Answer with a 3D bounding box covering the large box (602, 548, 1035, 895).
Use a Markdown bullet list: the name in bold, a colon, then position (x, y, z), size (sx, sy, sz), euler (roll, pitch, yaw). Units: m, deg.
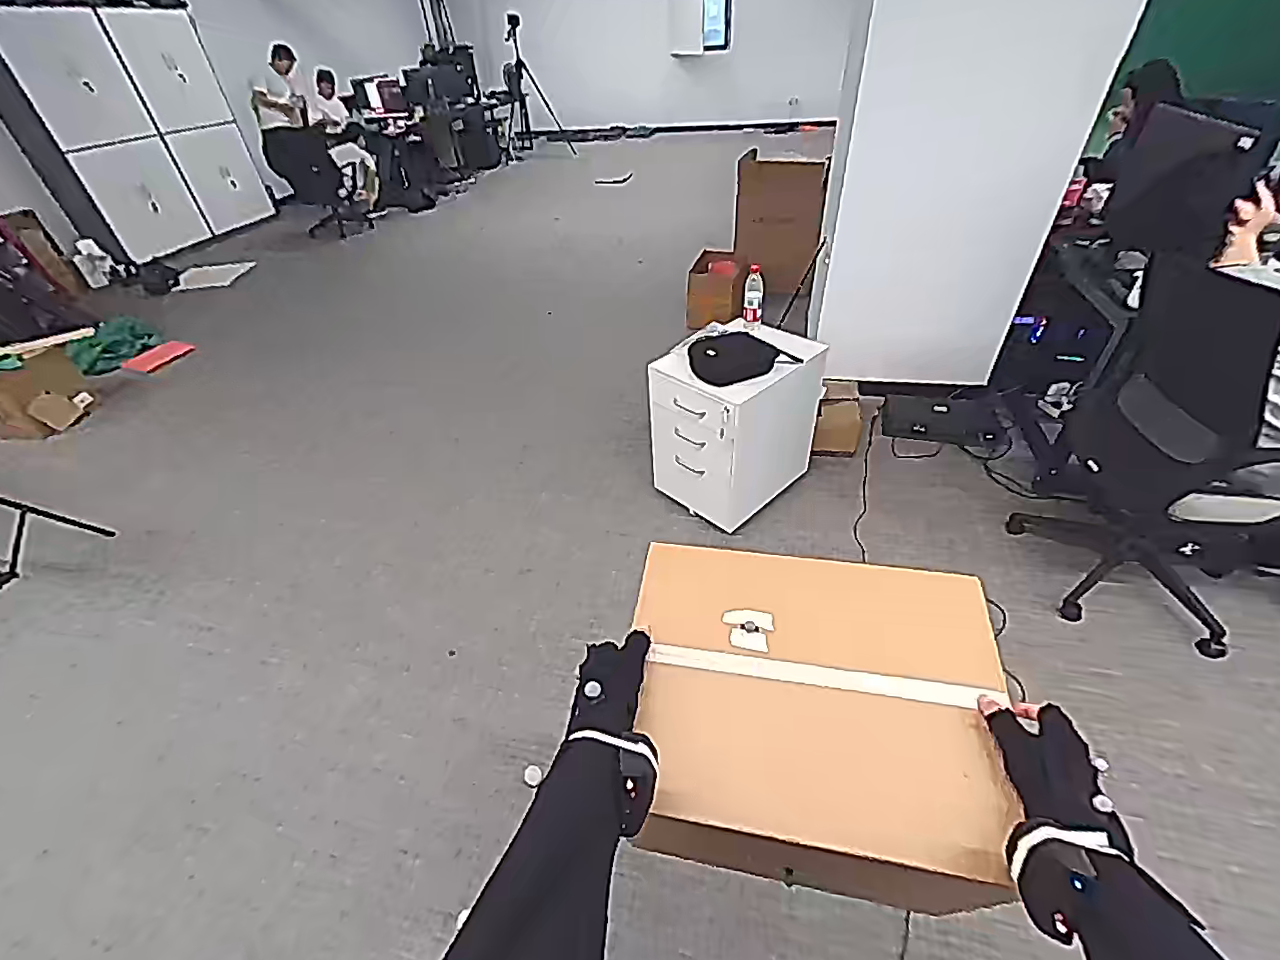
- **large box**: position (0.198, 0.316, 0.716), size (0.408, 0.320, 0.320), euler (4, 49, 12)
